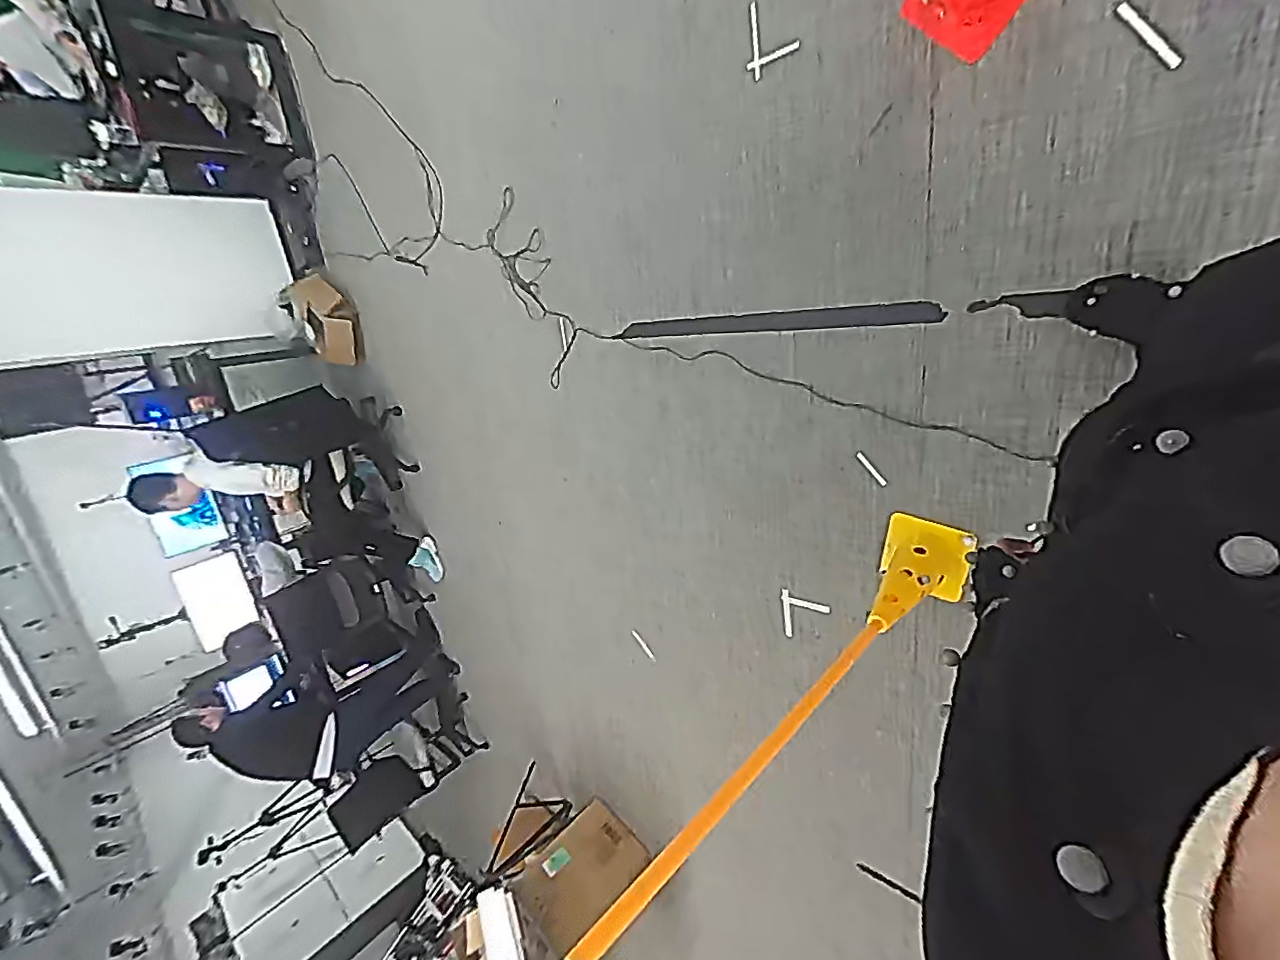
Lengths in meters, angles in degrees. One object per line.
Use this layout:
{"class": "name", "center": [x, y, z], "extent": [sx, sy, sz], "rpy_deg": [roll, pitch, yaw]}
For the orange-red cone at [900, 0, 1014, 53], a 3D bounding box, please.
{"class": "orange-red cone", "center": [0.487, -0.863, 0.855], "extent": [0.199, 0.360, 0.198], "rpy_deg": [51, 137, 14]}
